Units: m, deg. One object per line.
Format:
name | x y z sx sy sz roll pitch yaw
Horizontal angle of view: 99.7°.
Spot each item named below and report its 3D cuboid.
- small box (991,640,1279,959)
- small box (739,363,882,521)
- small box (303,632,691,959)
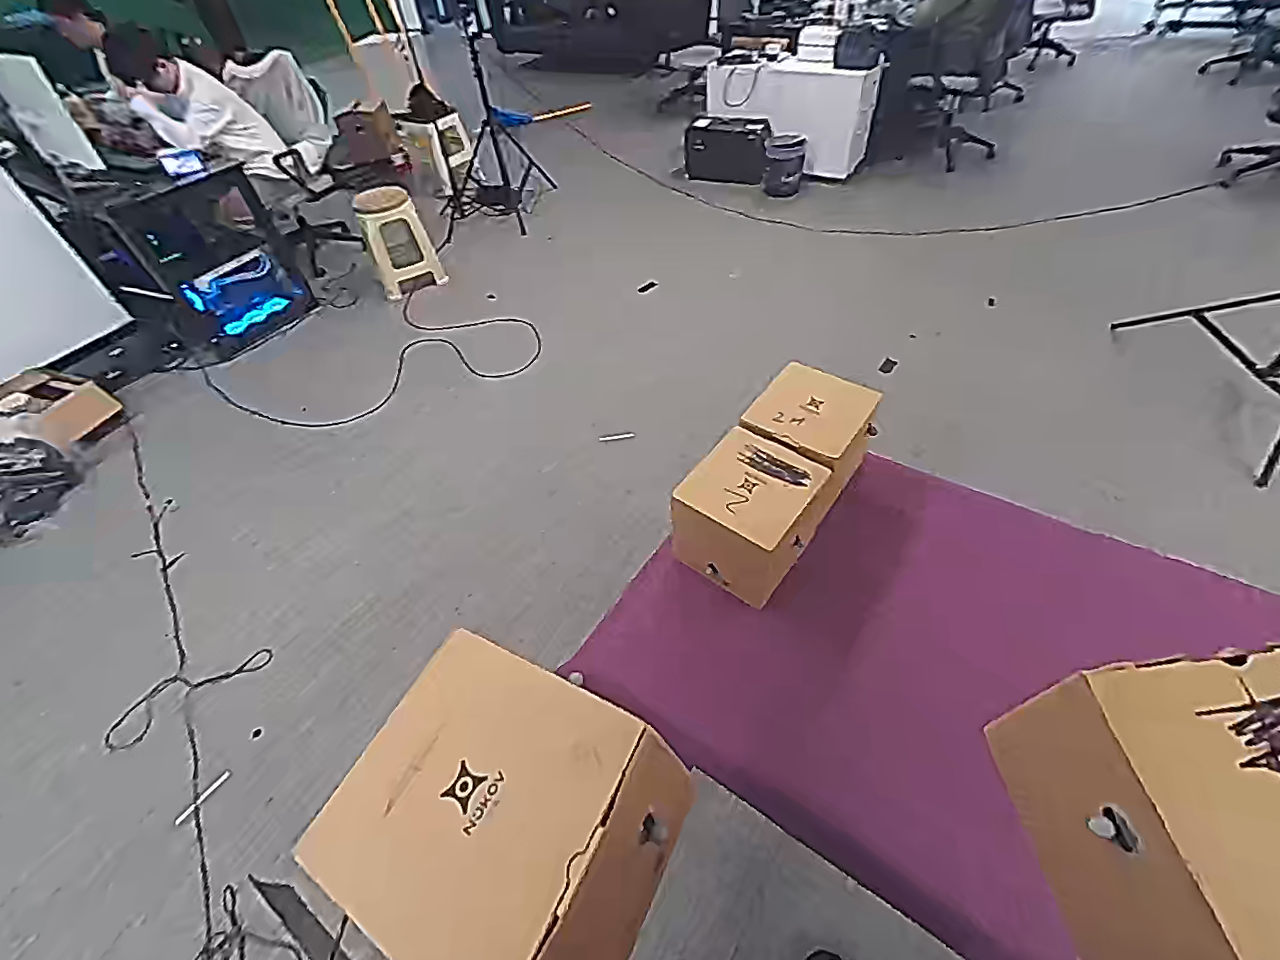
small box | 0.356 0.213 0.327 0.168 0.176 0.179 -10 55 5
small box | 0.281 -0.065 0.926 0.168 0.176 0.179 29 58 27
small box | -0.080 0.243 0.392 0.179 0.176 0.168 13 55 29
